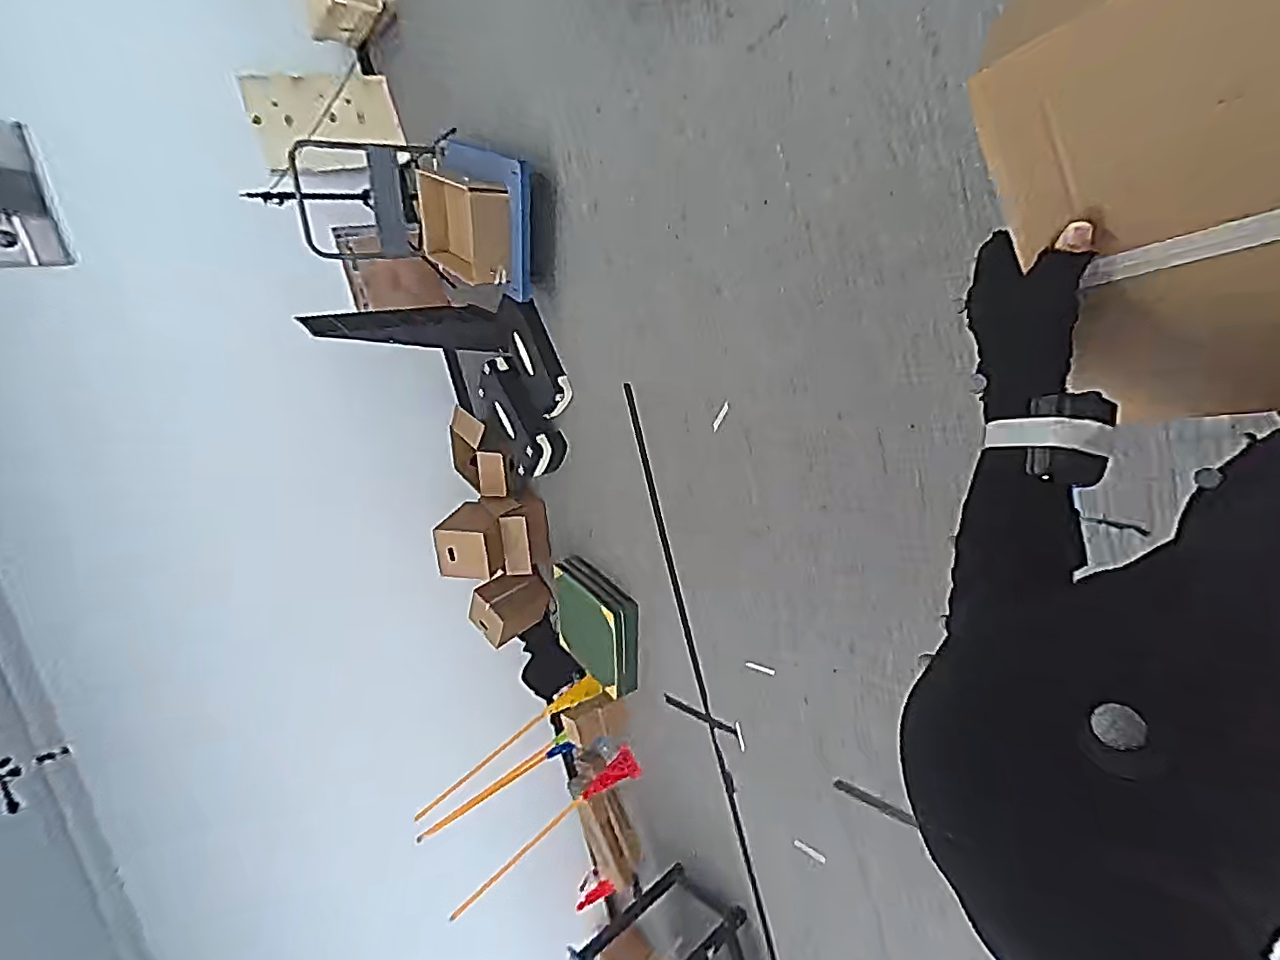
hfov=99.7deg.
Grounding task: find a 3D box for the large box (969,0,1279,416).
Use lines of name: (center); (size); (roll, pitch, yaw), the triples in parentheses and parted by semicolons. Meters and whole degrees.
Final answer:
large box: (0.492, -0.274, 0.320); (0.408, 0.320, 0.320); (-2, 140, 51)
